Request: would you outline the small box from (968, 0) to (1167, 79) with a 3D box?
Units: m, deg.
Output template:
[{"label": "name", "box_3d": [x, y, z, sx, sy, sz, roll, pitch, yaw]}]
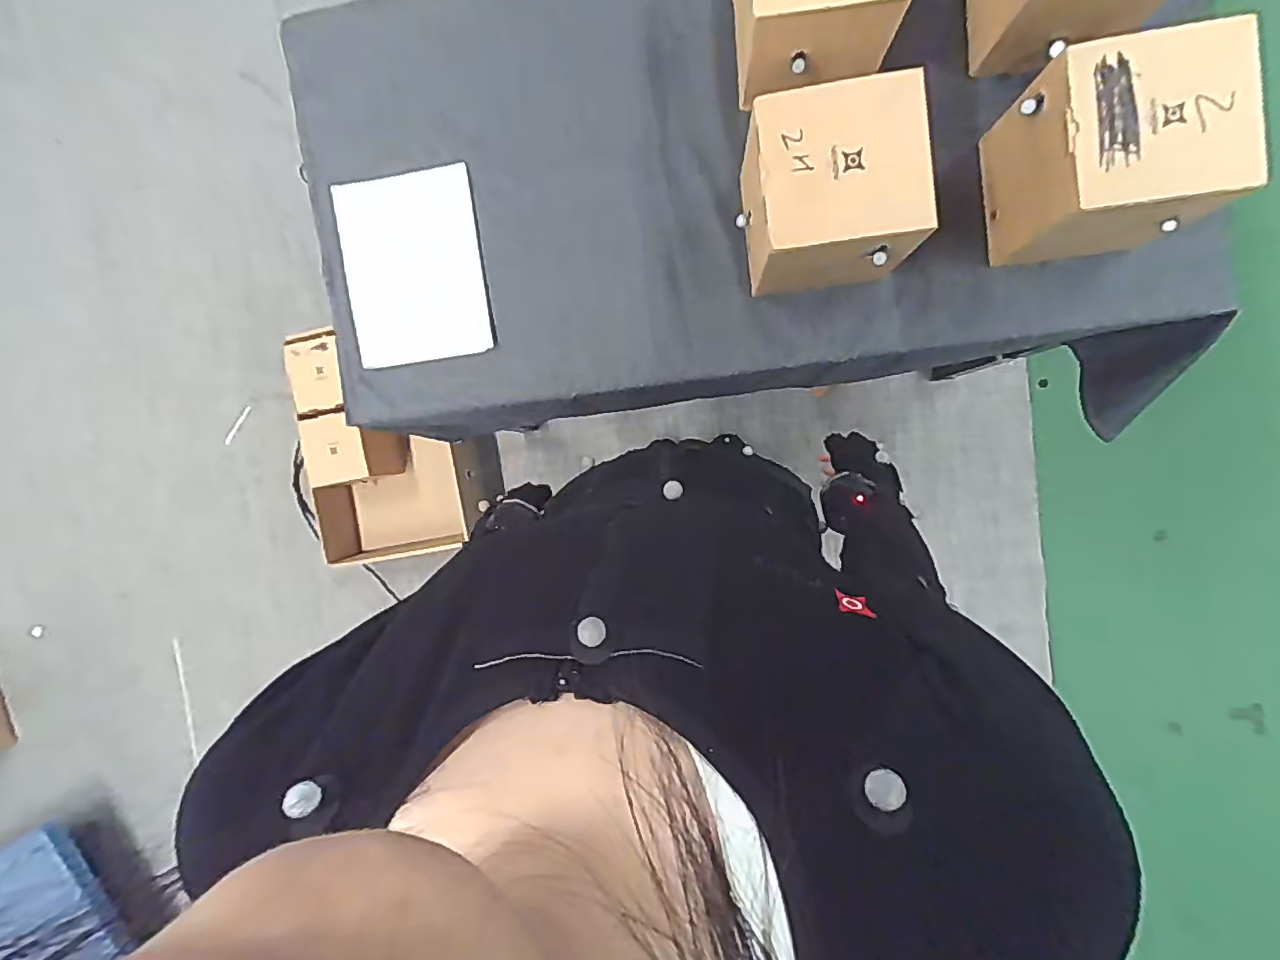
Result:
[{"label": "small box", "box_3d": [0.492, -0.602, 0.606, 0.168, 0.176, 0.179, -3, 93, 6]}]

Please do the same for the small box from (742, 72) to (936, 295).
[{"label": "small box", "box_3d": [0.223, -0.335, 0.646, 0.179, 0.176, 0.168, -5, 91, 7]}]

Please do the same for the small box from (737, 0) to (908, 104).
[{"label": "small box", "box_3d": [0.205, -0.580, 0.639, 0.168, 0.176, 0.179, -3, 92, 6]}]
